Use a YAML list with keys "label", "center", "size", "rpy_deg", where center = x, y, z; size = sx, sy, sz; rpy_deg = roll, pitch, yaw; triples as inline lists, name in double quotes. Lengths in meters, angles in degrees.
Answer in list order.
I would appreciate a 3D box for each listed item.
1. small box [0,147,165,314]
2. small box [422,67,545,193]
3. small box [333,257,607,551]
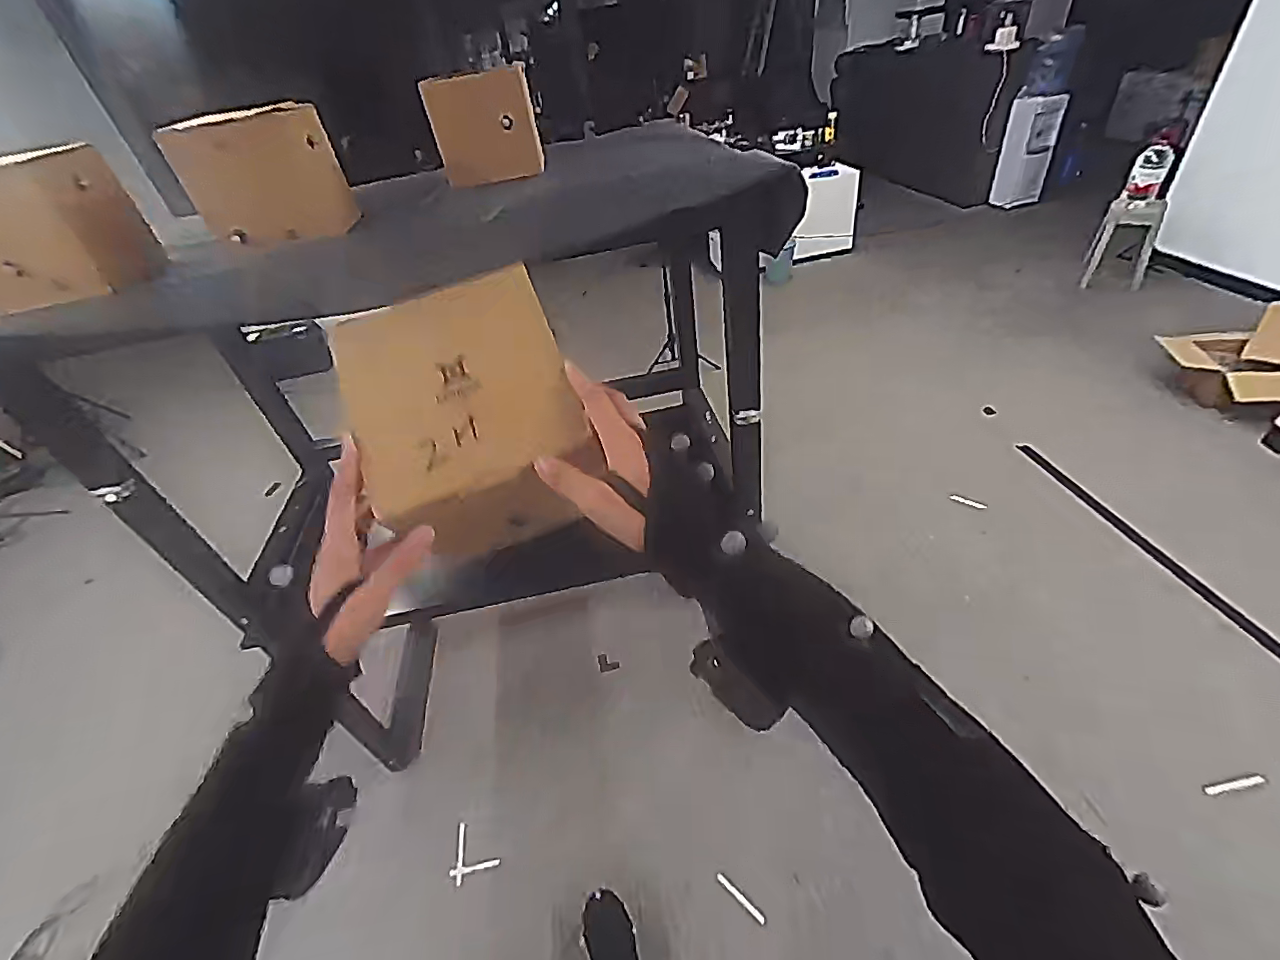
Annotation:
- label: "small box"
  center: [-0.841, -0.356, 0.771]
  size: [0.168, 0.176, 0.179]
  rpy_deg: [-14, 40, -5]
- label: "small box"
  center: [-0.282, -0.660, 1.020]
  size: [0.179, 0.176, 0.168]
  rpy_deg: [-10, 39, -1]
- label: "small box"
  center: [-0.136, -0.055, 0.484]
  size: [0.168, 0.176, 0.179]
  rpy_deg: [-21, 73, -6]
